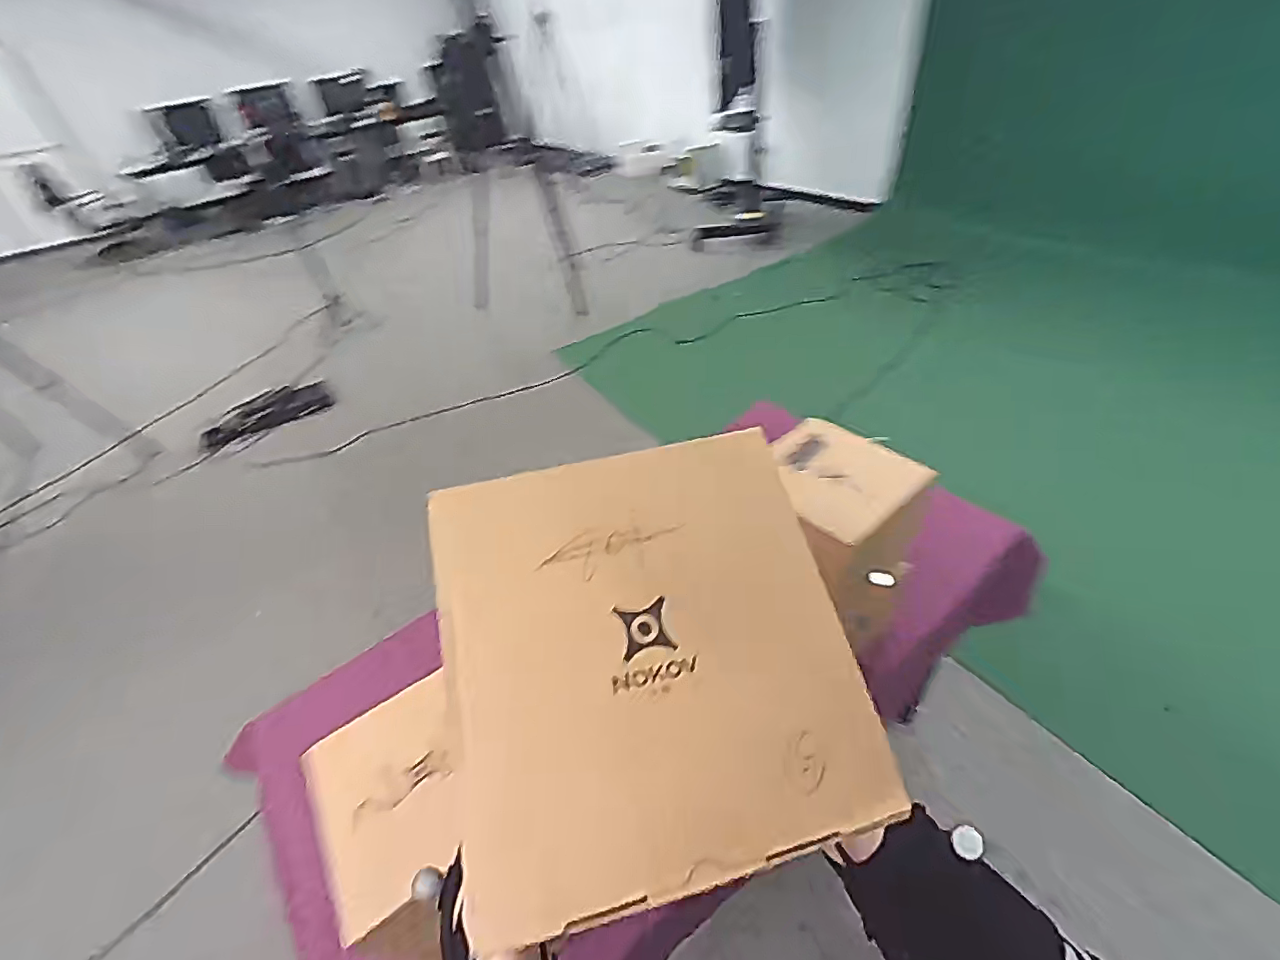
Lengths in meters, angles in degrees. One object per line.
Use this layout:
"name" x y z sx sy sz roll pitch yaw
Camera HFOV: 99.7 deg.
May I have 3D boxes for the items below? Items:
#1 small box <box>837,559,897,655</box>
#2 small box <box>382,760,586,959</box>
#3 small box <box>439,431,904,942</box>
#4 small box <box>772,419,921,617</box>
"small box" 0.254 0.179 0.820 0.179 0.176 0.168 -31 46 -23
"small box" -0.158 0.424 0.613 0.168 0.176 0.179 -31 46 -24
"small box" 0.001 0.100 0.298 0.168 0.176 0.179 -11 65 -8
"small box" 0.229 0.052 0.717 0.168 0.176 0.179 -33 47 -25
